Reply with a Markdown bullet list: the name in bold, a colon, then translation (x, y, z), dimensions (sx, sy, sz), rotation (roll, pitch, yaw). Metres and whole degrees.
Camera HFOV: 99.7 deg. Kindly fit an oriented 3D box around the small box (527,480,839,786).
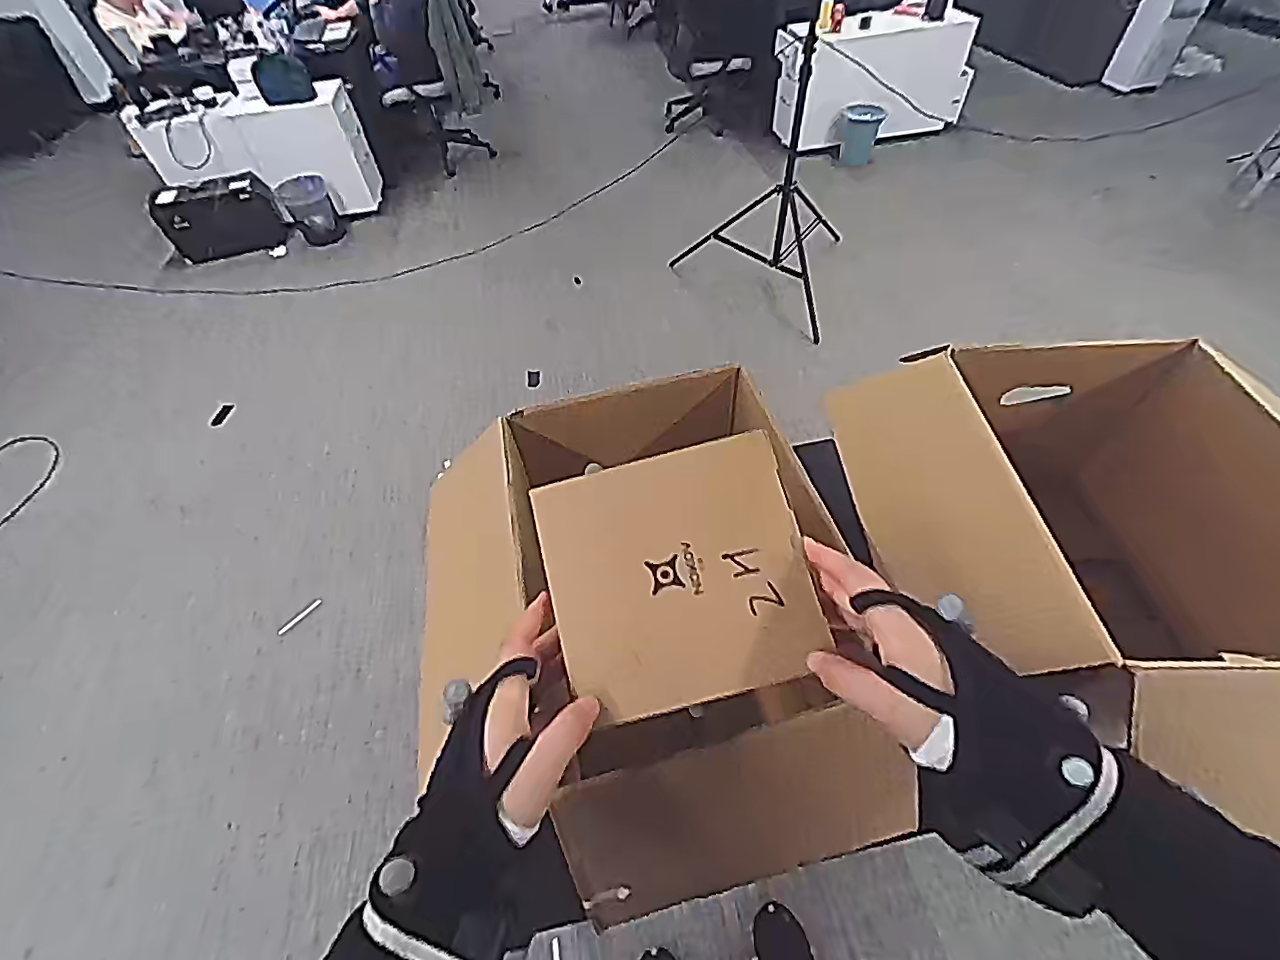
- **small box**: translation (0.029, 0.114, 0.430), dimensions (0.179, 0.176, 0.168), rotation (-14, 77, 1)
